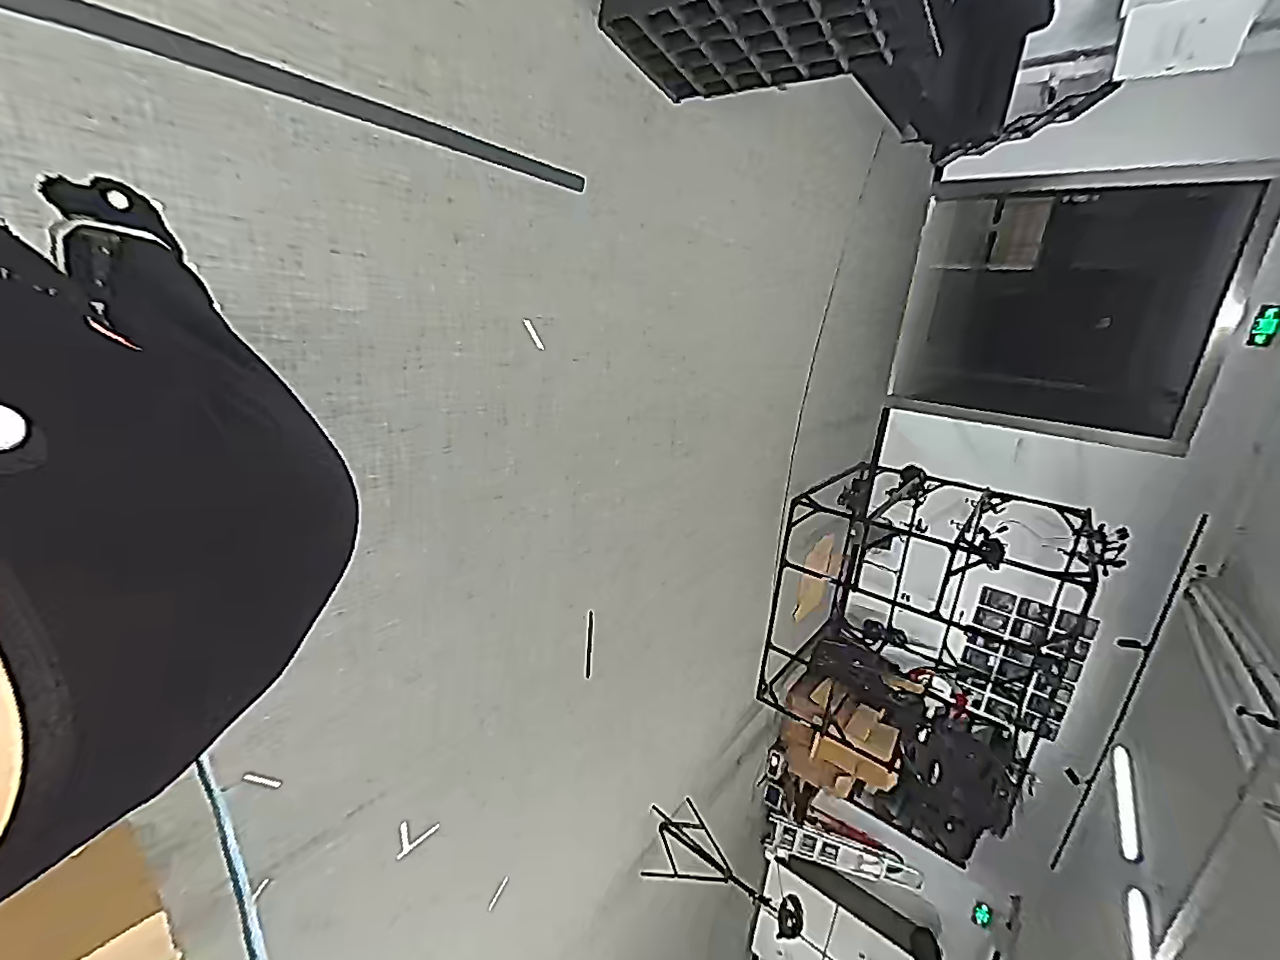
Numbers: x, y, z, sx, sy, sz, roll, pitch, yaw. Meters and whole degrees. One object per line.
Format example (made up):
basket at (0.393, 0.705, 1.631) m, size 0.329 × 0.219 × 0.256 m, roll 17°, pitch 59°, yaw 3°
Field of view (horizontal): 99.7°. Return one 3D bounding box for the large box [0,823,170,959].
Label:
large box at (-1.255, 1.029, 1.101) m, size 0.408 × 0.320 × 0.320 m, roll -16°, pitch 117°, yaw -50°
